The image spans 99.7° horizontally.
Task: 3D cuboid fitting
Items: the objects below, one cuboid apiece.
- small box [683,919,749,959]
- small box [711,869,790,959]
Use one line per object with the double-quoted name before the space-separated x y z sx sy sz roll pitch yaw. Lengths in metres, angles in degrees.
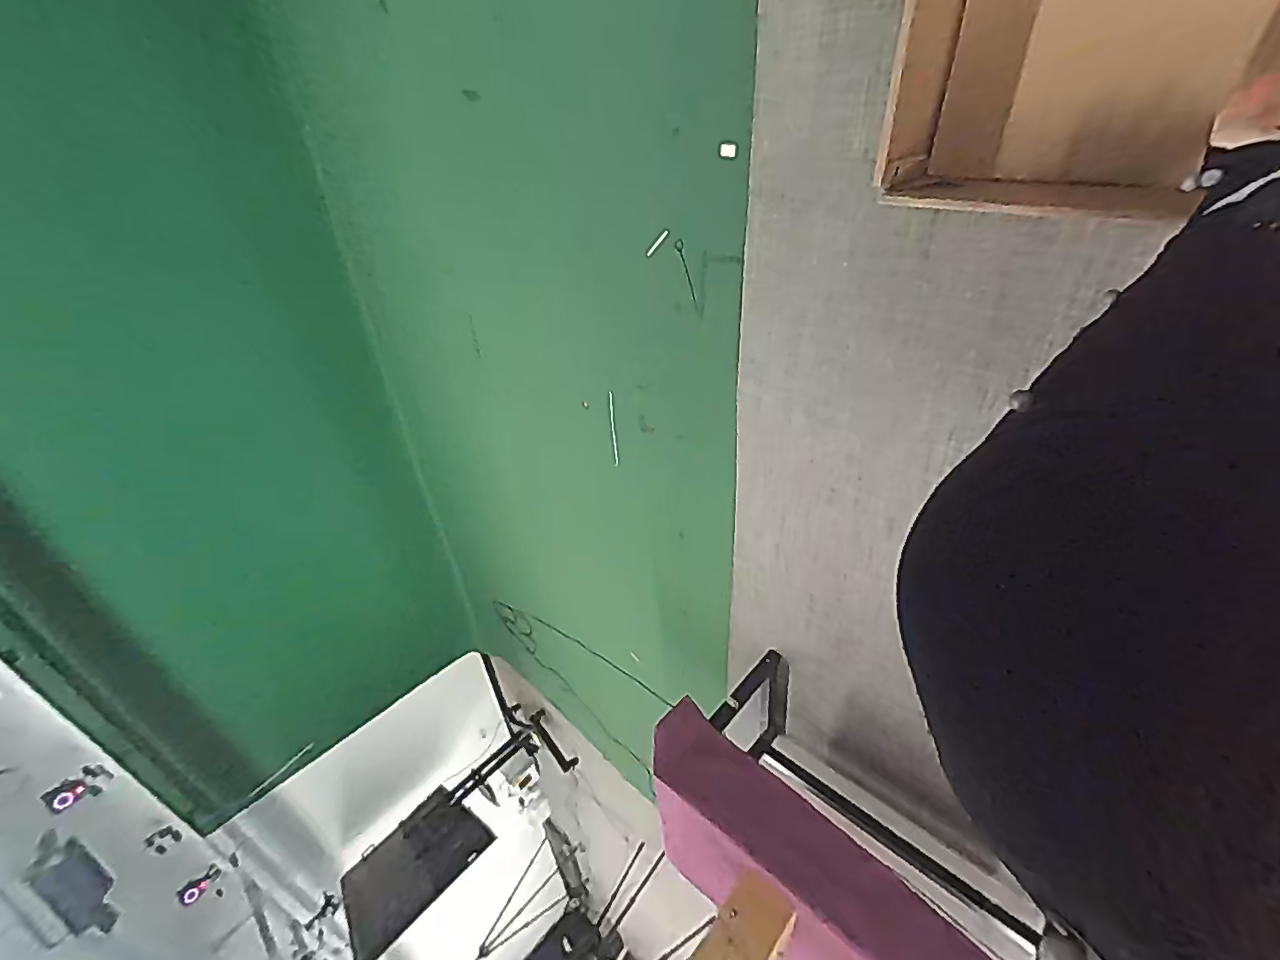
"small box" 0.216 1.402 1.529 0.168 0.176 0.179 28 136 36
"small box" 0.331 1.326 1.620 0.179 0.176 0.168 26 134 38
